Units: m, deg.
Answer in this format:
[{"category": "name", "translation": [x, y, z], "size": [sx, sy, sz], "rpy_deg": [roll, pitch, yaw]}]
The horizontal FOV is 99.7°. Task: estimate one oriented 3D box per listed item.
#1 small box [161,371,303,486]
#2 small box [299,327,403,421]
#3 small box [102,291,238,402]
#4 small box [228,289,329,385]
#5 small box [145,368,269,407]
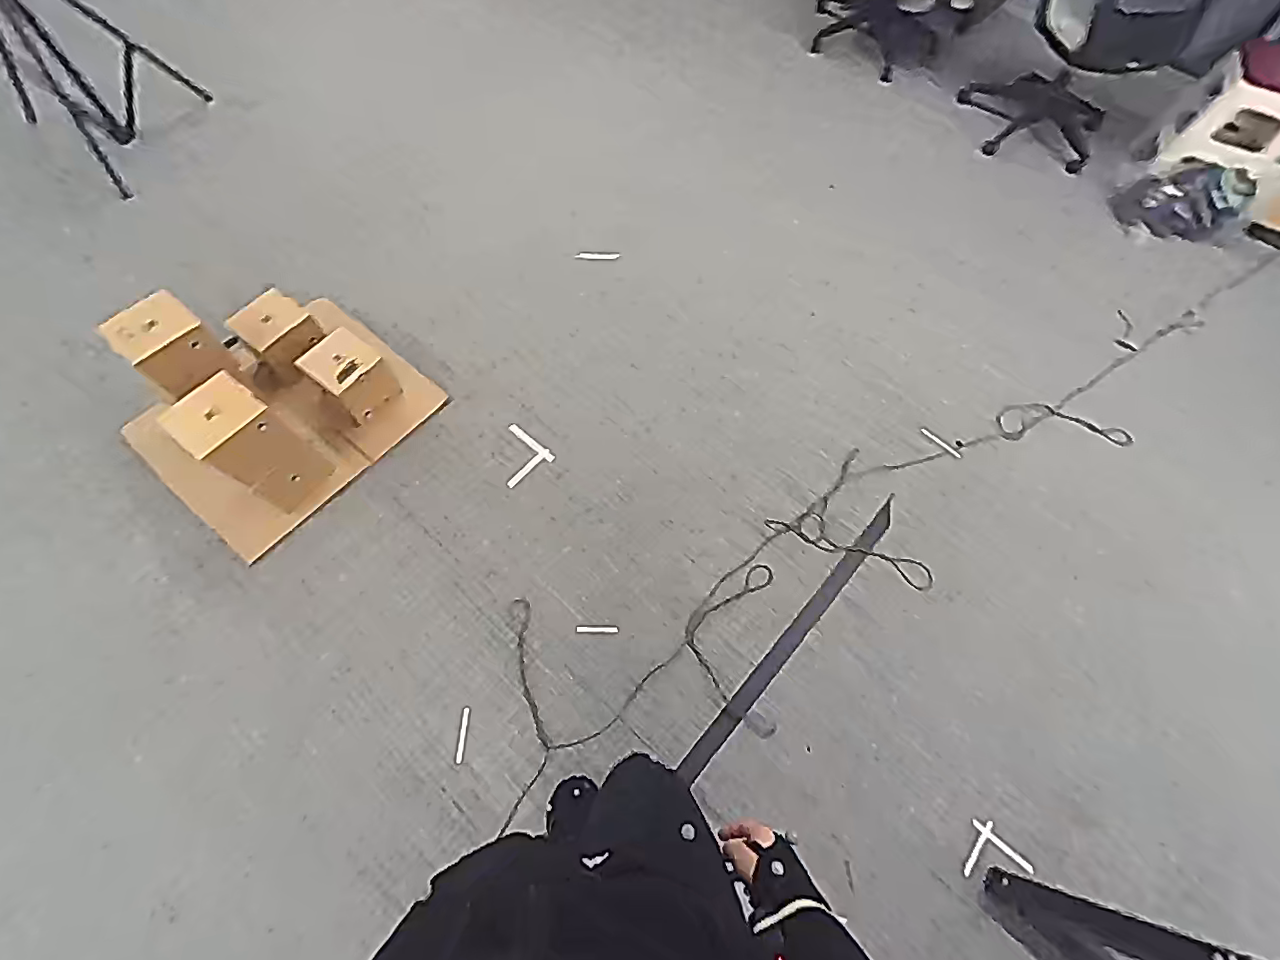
[{"category": "small box", "translation": [-0.957, -0.116, 1.288], "size": [0.168, 0.176, 0.179], "rpy_deg": [36, 68, 12]}, {"category": "small box", "translation": [-0.823, -0.297, 1.561], "size": [0.179, 0.176, 0.168], "rpy_deg": [35, 68, 12]}, {"category": "small box", "translation": [-1.172, -0.334, 1.370], "size": [0.168, 0.176, 0.179], "rpy_deg": [37, 68, 13]}, {"category": "small box", "translation": [-1.049, -0.421, 1.604], "size": [0.168, 0.176, 0.179], "rpy_deg": [33, 68, 12]}, {"category": "small box", "translation": [-1.197, -0.249, 1.512], "size": [0.168, 0.176, 0.179], "rpy_deg": [34, 69, 11]}]
